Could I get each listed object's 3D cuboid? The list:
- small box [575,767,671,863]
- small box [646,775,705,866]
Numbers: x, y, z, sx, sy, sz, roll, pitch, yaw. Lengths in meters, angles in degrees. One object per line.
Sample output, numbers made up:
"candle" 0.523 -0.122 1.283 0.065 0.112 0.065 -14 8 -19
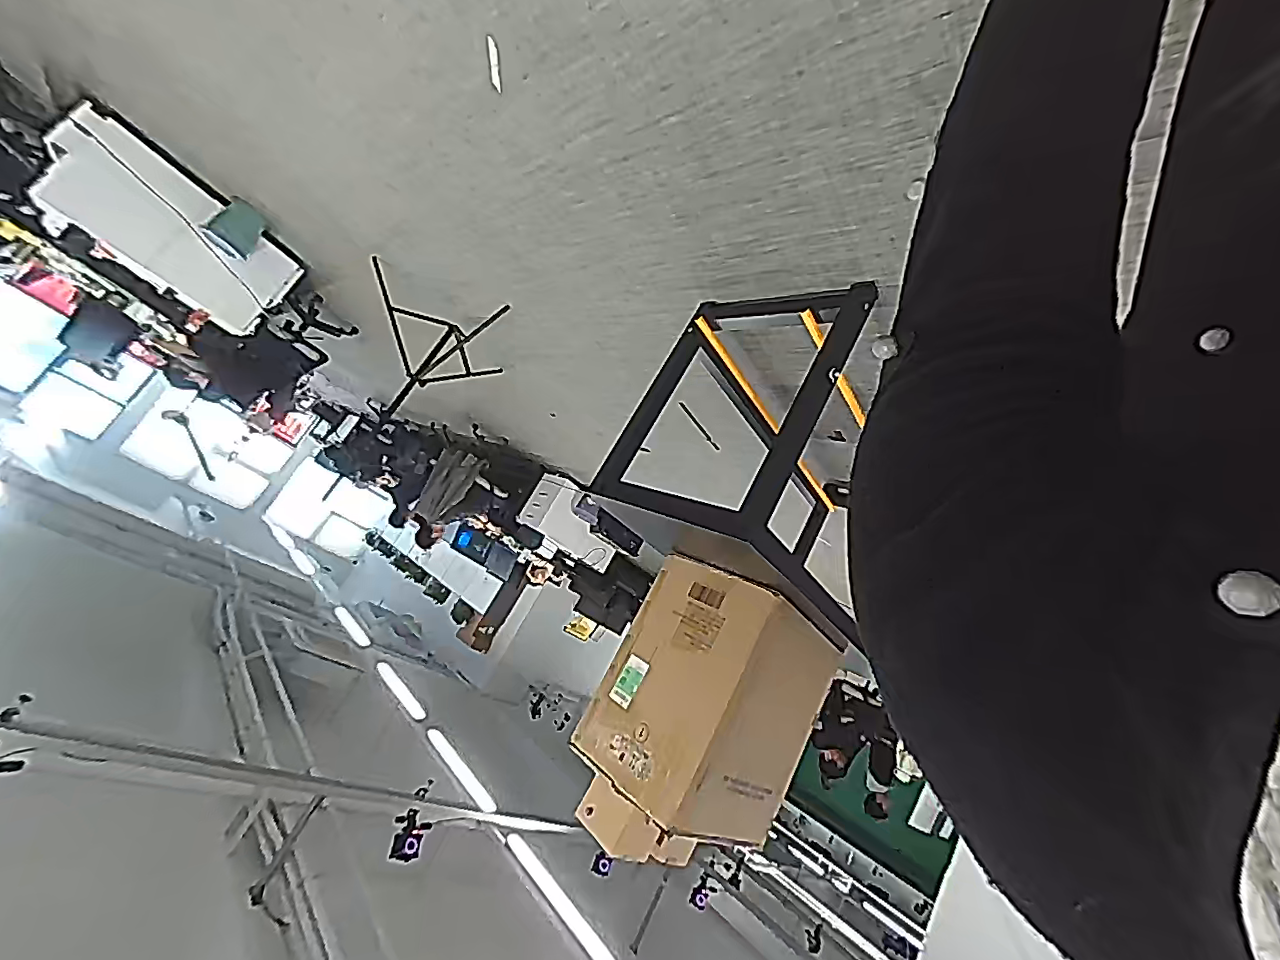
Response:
"small box" -0.045 0.944 1.541 0.179 0.176 0.168 15 160 50
"small box" 0.081 1.060 1.691 0.179 0.176 0.168 13 157 51
